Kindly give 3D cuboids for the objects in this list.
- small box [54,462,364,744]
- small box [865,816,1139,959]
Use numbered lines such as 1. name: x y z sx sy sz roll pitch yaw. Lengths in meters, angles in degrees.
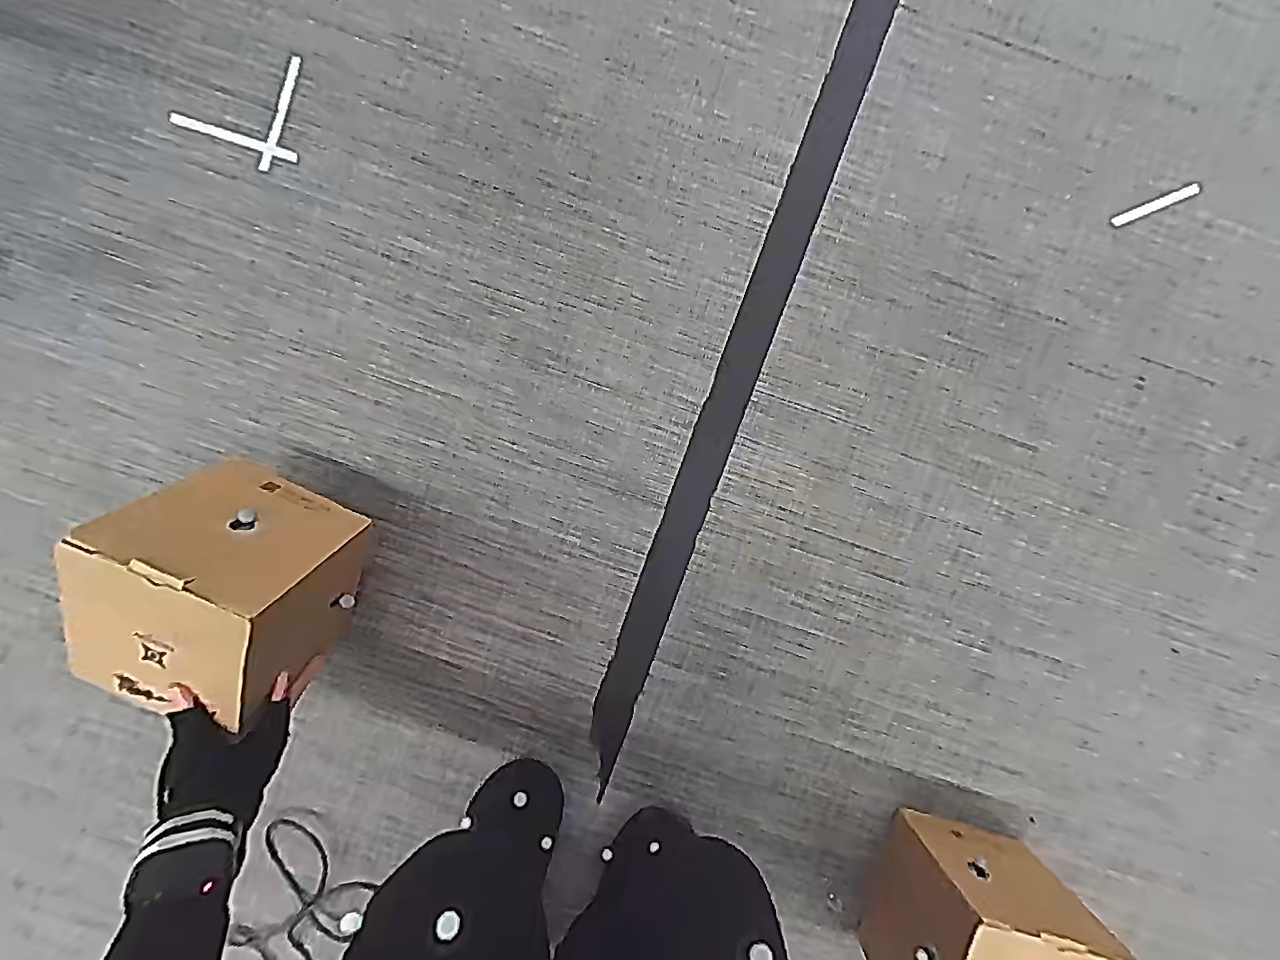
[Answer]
1. small box: -0.404 0.108 0.531 0.168 0.176 0.179 26 115 -3
2. small box: 0.367 0.505 0.577 0.168 0.176 0.179 17 93 1
